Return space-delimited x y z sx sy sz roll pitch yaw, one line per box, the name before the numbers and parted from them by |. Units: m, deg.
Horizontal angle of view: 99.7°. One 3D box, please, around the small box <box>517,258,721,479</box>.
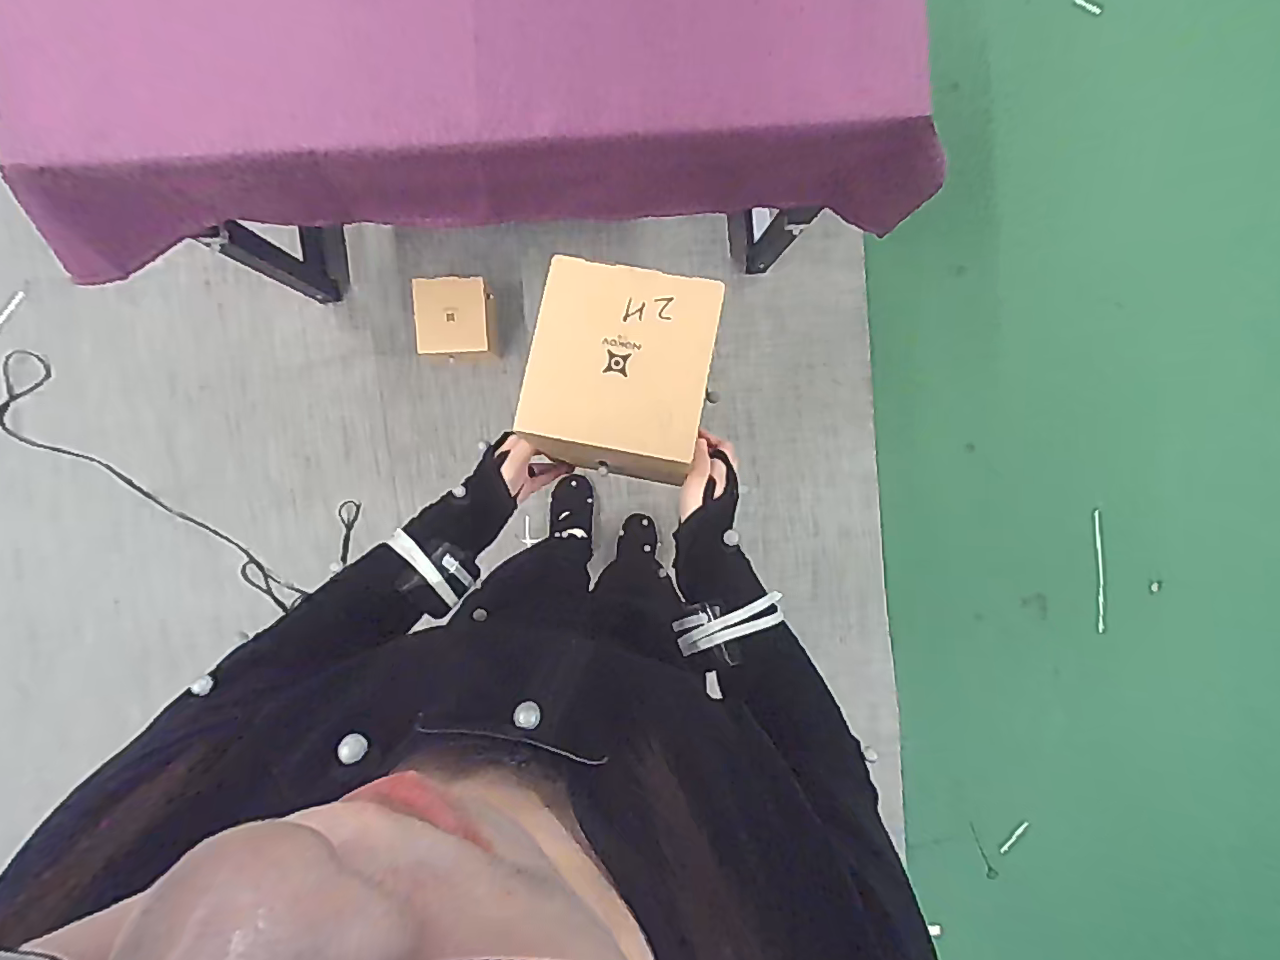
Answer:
small box | -0.015 -0.105 0.586 0.168 0.176 0.179 12 83 4
